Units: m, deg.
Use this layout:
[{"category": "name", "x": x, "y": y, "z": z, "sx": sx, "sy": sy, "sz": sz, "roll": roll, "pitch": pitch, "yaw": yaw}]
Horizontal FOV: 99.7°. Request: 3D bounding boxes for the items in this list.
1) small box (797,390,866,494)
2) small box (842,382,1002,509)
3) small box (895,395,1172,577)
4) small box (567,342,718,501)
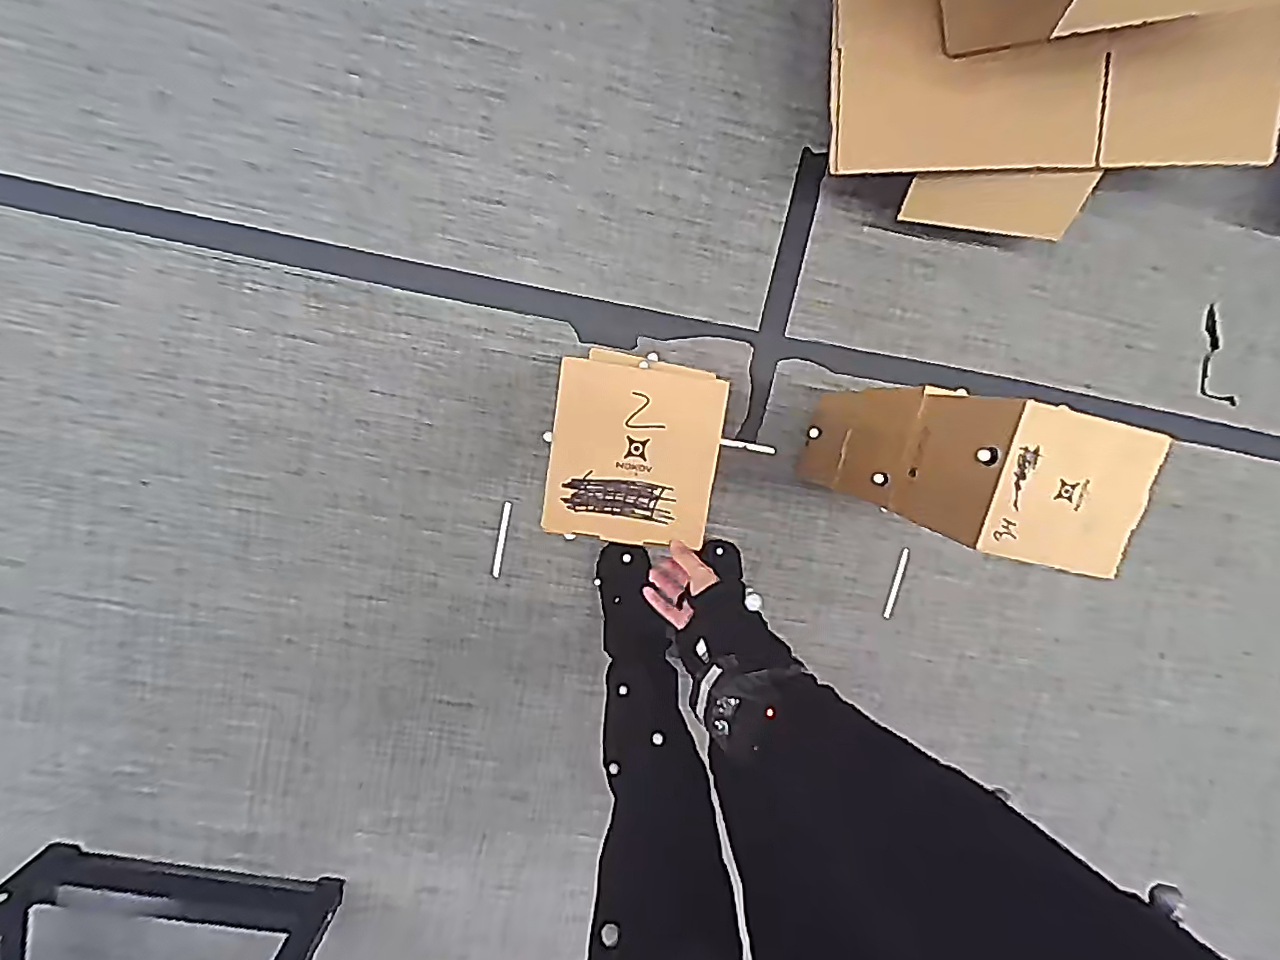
[{"category": "small box", "x": 0.412, "y": -0.062, "z": 0.967, "sx": 0.179, "sy": 0.176, "sz": 0.168, "roll": 15, "pitch": 99, "yaw": -8}, {"category": "small box", "x": 0.428, "y": -0.045, "z": 0.806, "sx": 0.168, "sy": 0.176, "sz": 0.179, "roll": 11, "pitch": 100, "yaw": -7}, {"category": "small box", "x": 0.450, "y": -0.004, "z": 0.648, "sx": 0.179, "sy": 0.176, "sz": 0.168, "roll": 12, "pitch": 100, "yaw": -8}, {"category": "small box", "x": -0.002, "y": -0.084, "z": 0.765, "sx": 0.168, "sy": 0.176, "sz": 0.179, "roll": 11, "pitch": 98, "yaw": -6}]
